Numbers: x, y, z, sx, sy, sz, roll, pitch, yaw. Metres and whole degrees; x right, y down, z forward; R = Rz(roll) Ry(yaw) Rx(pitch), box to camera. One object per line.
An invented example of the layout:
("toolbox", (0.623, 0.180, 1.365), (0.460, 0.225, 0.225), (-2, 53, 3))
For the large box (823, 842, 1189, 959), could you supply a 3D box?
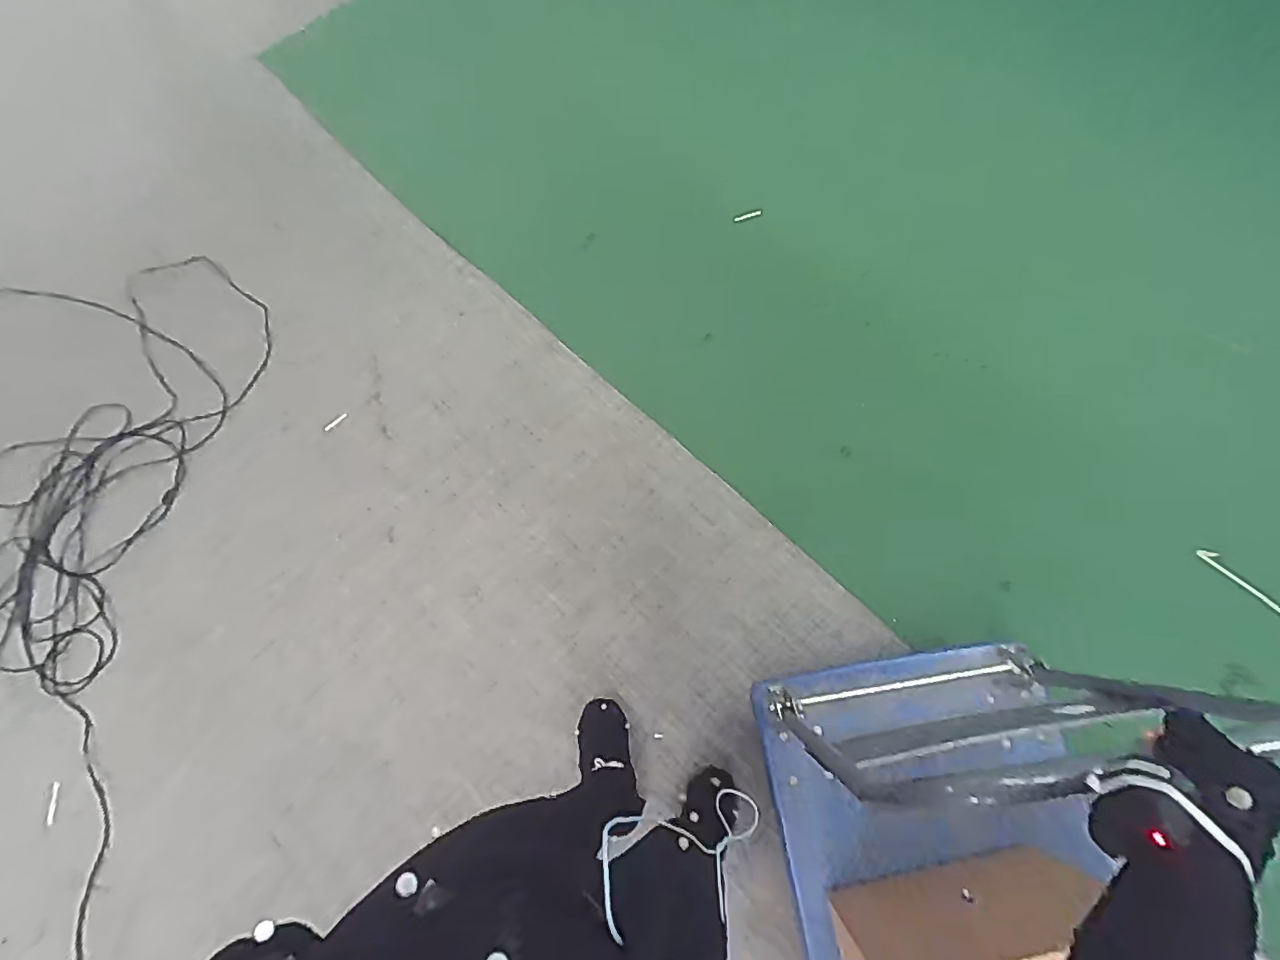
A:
("large box", (0.555, 0.811, 0.813), (0.408, 0.320, 0.320), (-13, 73, -2))
